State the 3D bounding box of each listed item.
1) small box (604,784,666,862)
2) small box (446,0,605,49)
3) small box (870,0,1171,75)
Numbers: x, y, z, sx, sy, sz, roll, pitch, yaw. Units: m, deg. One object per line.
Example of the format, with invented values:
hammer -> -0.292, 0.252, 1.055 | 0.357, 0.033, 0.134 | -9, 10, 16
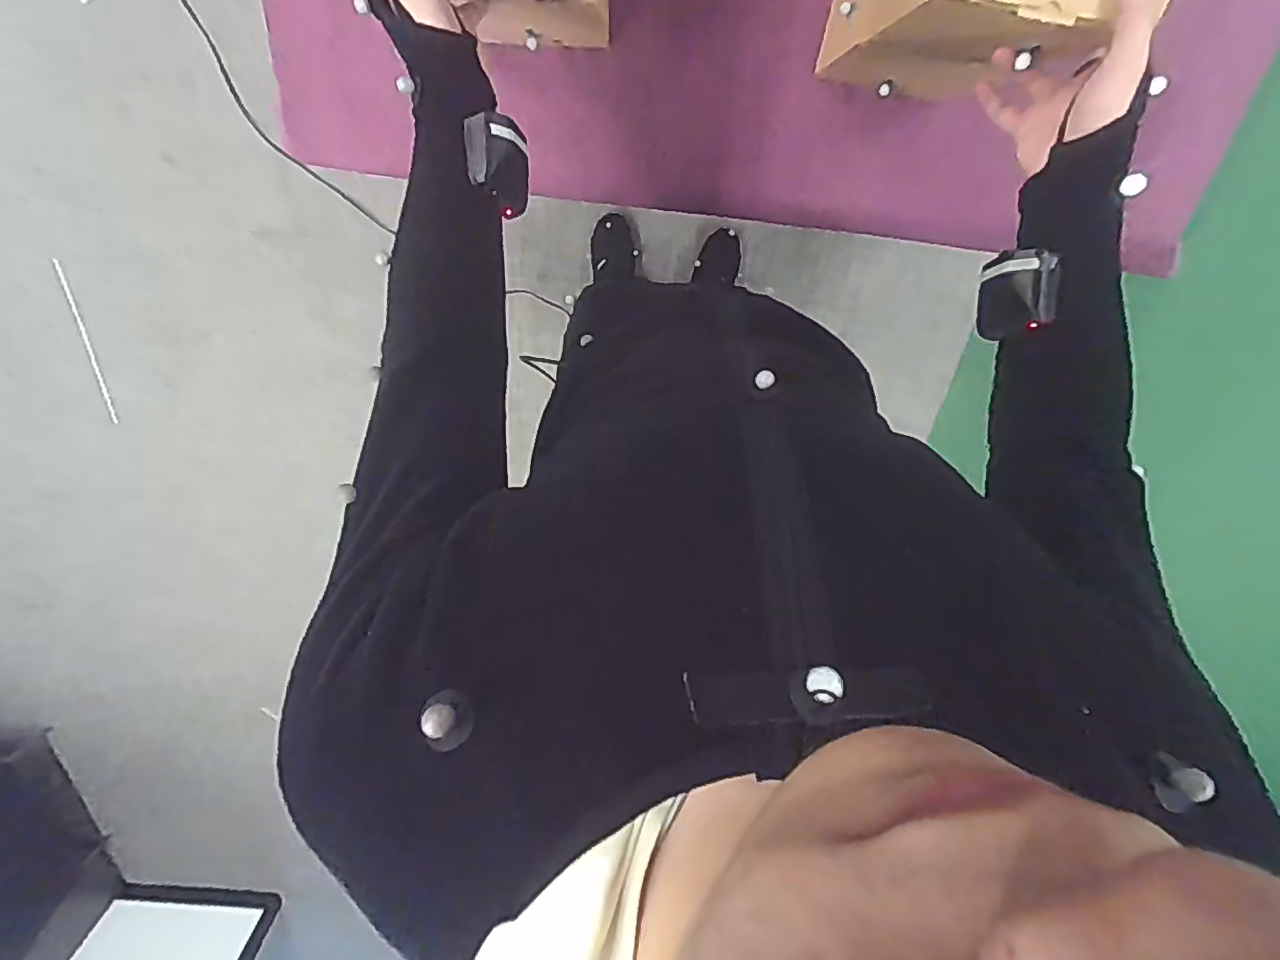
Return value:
small box -> -0.019, 1.191, 1.882 | 0.179, 0.176, 0.168 | 13, 117, -7
small box -> -0.120, -0.564, 0.538 | 0.168, 0.176, 0.179 | 3, 117, -1
small box -> 0.302, -0.439, 0.414 | 0.168, 0.176, 0.179 | 8, 118, -4
